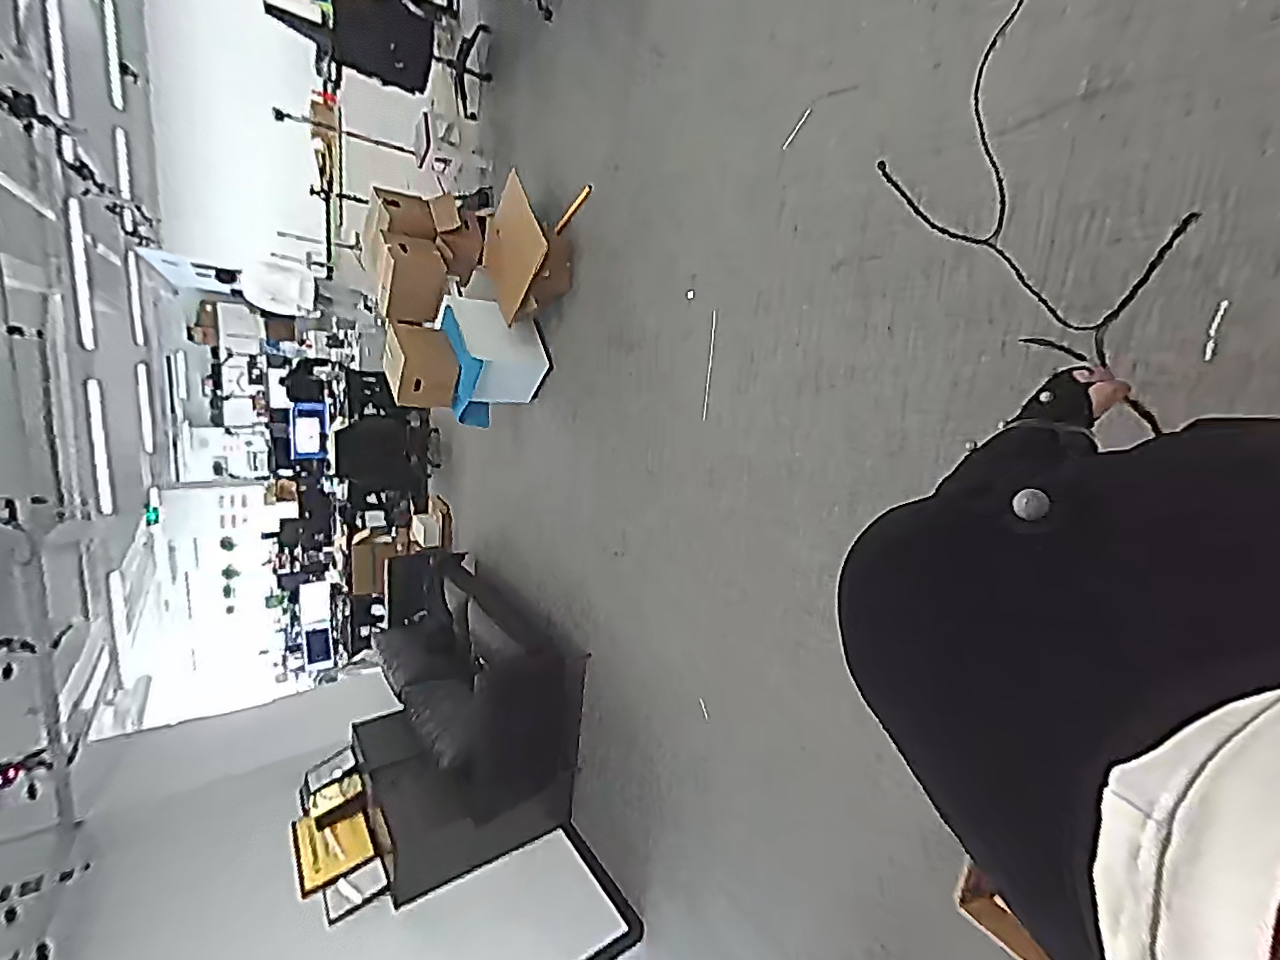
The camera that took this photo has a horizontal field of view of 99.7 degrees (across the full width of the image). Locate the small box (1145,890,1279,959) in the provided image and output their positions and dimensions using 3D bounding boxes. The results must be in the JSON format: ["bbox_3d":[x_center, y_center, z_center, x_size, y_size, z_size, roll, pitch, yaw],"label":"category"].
[{"bbox_3d":[1.181,1.016,1.124,0.168,0.176,0.179,21,110,52],"label":"small box"}]

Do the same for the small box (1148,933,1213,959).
[{"bbox_3d":[1.053,1.030,1.023,0.168,0.176,0.179,29,117,49],"label":"small box"}]
